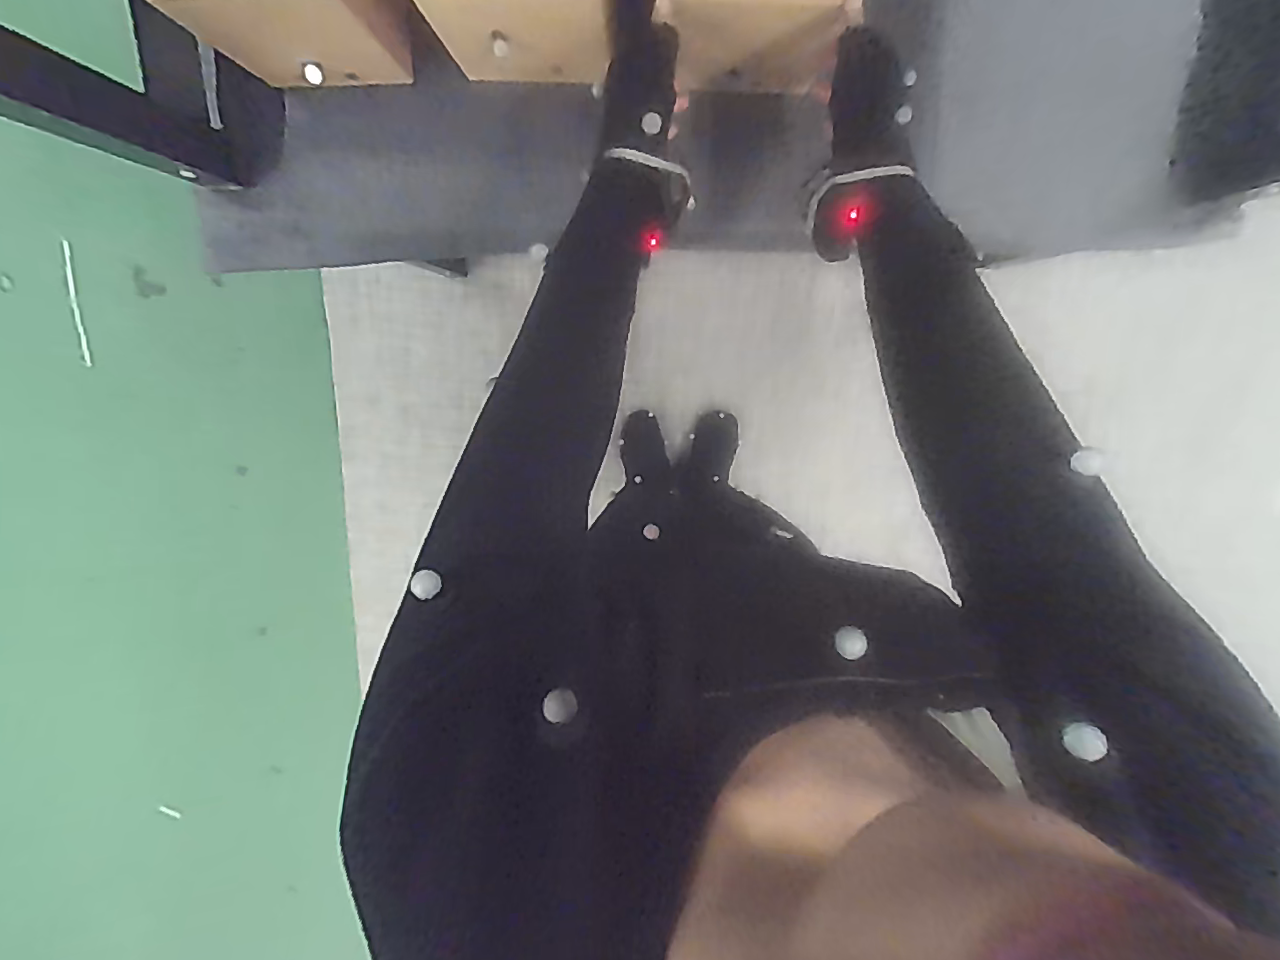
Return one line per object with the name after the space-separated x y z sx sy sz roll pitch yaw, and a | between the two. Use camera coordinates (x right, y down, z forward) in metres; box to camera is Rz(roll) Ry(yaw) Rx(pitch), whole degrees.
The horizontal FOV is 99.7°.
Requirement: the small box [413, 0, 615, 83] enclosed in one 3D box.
-0.111 -0.510 0.510 0.168 0.176 0.179 2 103 1 | small box

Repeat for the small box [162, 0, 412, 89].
-0.338 -0.511 0.515 0.168 0.176 0.179 0 103 2 | small box
